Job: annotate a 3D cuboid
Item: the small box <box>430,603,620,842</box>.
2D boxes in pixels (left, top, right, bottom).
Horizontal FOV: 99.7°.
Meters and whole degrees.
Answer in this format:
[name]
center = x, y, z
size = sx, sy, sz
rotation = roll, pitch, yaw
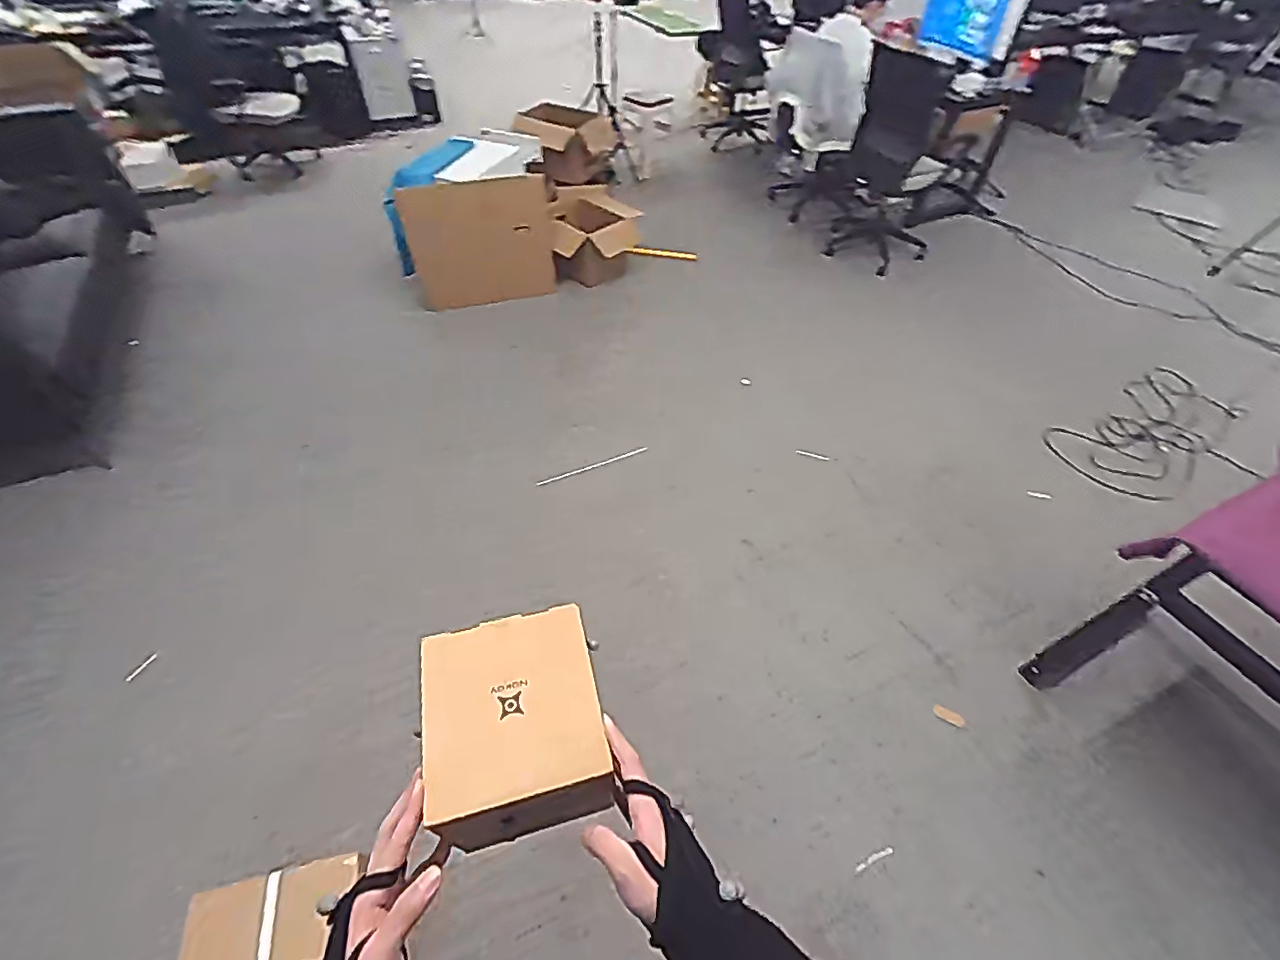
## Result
[small box]
center = -0.118, 0.263, 0.579
size = 0.168, 0.176, 0.179
rotation = -11, 49, -11
